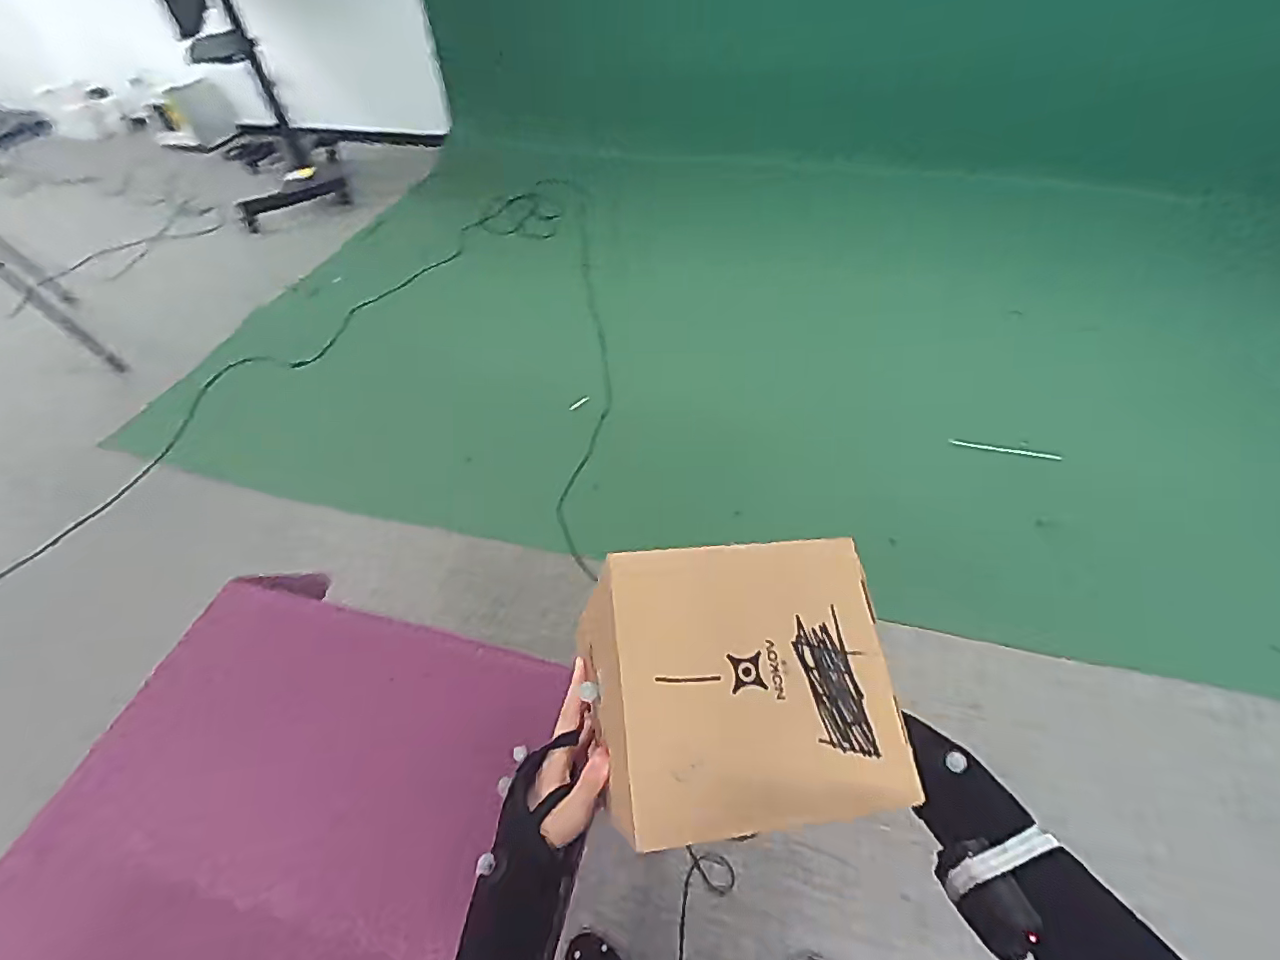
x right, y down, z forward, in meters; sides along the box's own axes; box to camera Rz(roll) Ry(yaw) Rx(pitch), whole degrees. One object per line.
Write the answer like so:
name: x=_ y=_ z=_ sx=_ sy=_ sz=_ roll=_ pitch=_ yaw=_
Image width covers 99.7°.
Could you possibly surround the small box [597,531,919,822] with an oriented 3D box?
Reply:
small box: x=0.064 y=0.142 z=0.409 sx=0.179 sy=0.176 sz=0.168 roll=-1 pitch=66 yaw=-10
